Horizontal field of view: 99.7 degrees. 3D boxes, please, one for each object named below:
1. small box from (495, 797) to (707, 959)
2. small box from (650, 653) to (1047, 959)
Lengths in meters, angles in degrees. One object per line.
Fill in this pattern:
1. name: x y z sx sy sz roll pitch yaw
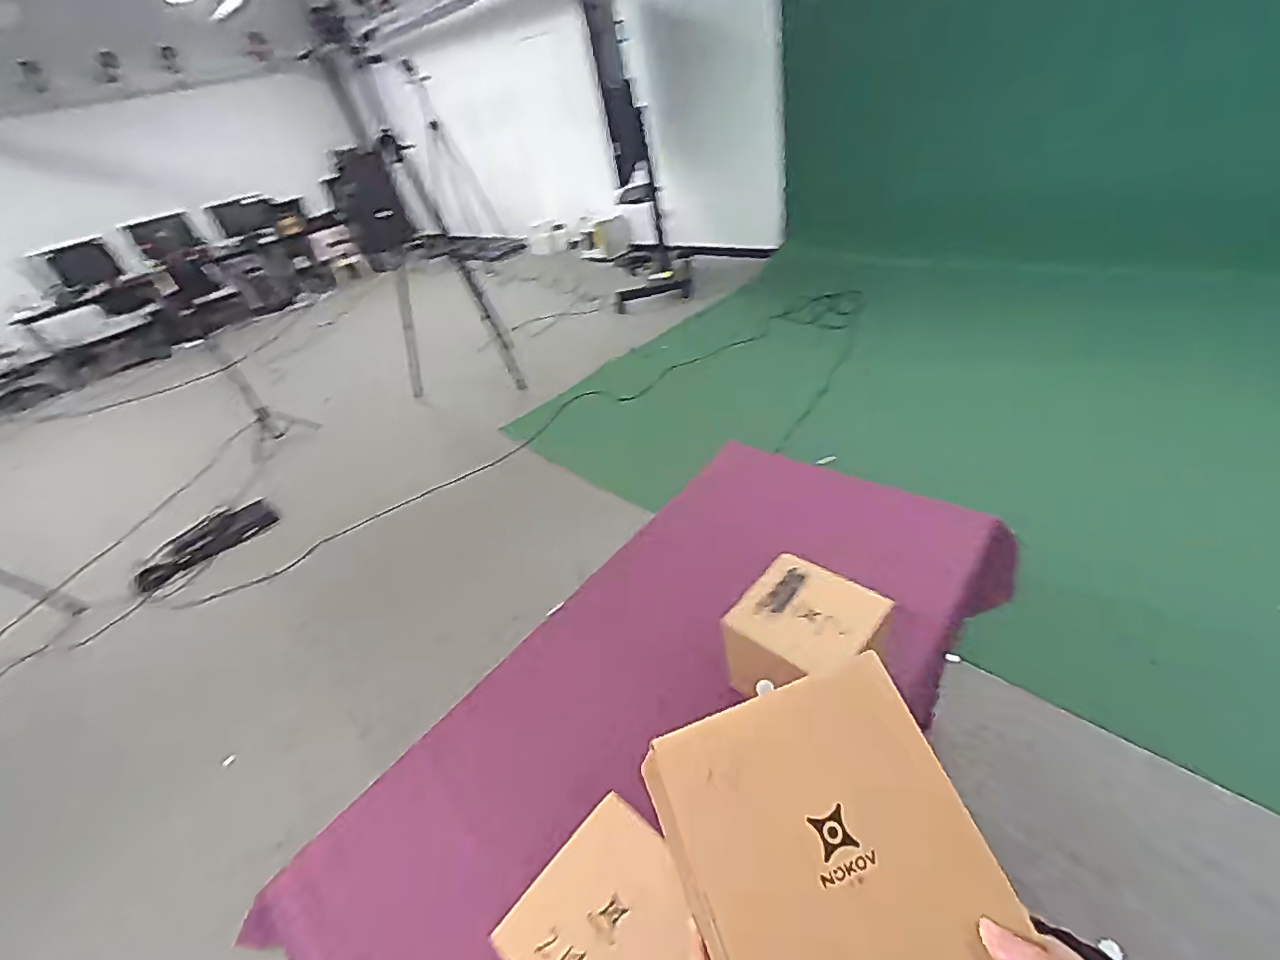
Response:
1. small box: -0.015 0.494 0.573 0.168 0.176 0.179 21 49 40
2. small box: 0.110 0.247 0.379 0.168 0.176 0.179 -15 62 -11
